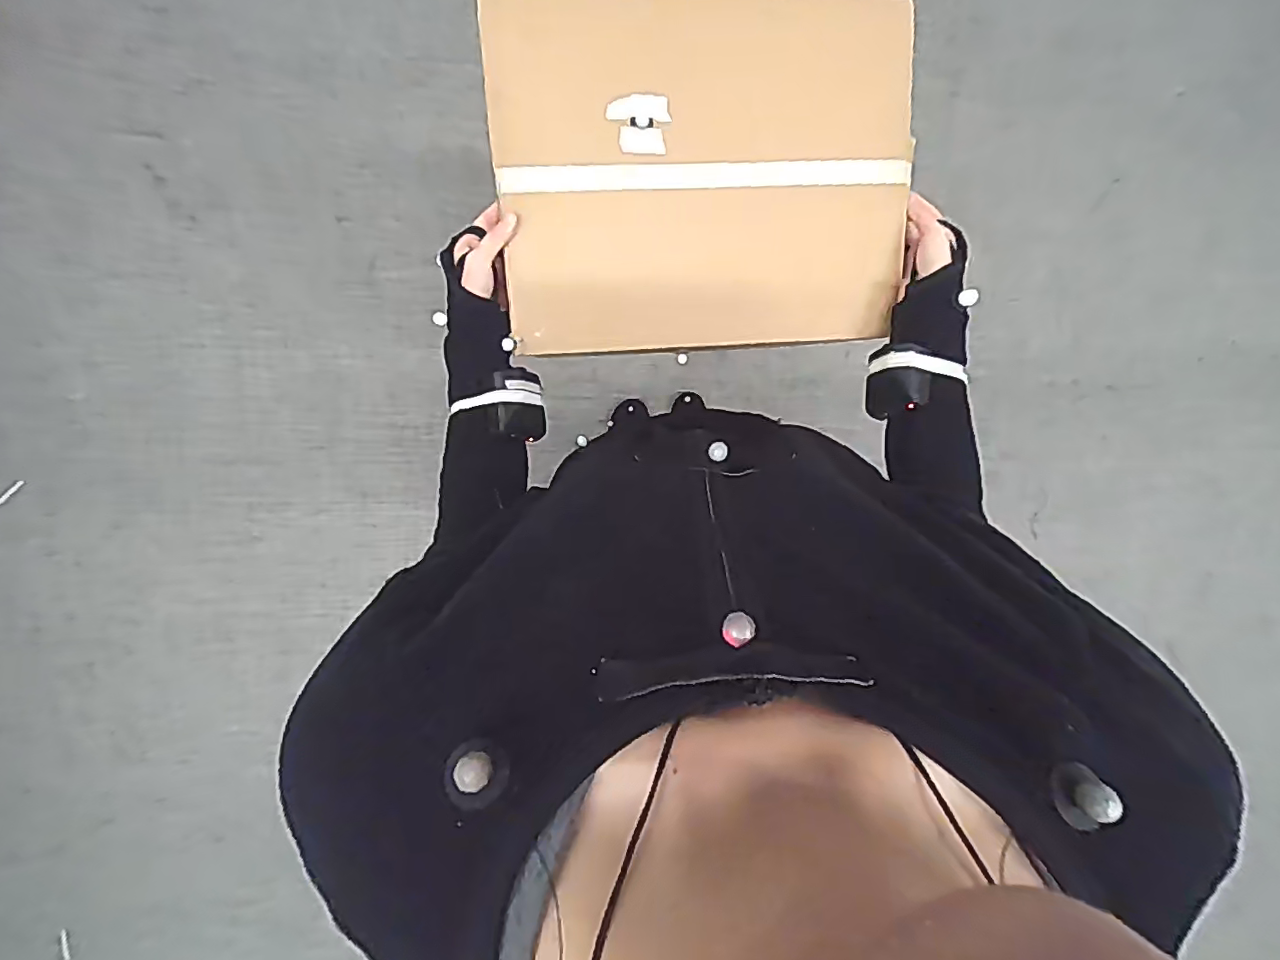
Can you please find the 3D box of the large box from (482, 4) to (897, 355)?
[{"bbox_3d":[0.046,-0.327,0.681,0.408,0.320,0.320,-4,102,-6],"label":"large box"}]
